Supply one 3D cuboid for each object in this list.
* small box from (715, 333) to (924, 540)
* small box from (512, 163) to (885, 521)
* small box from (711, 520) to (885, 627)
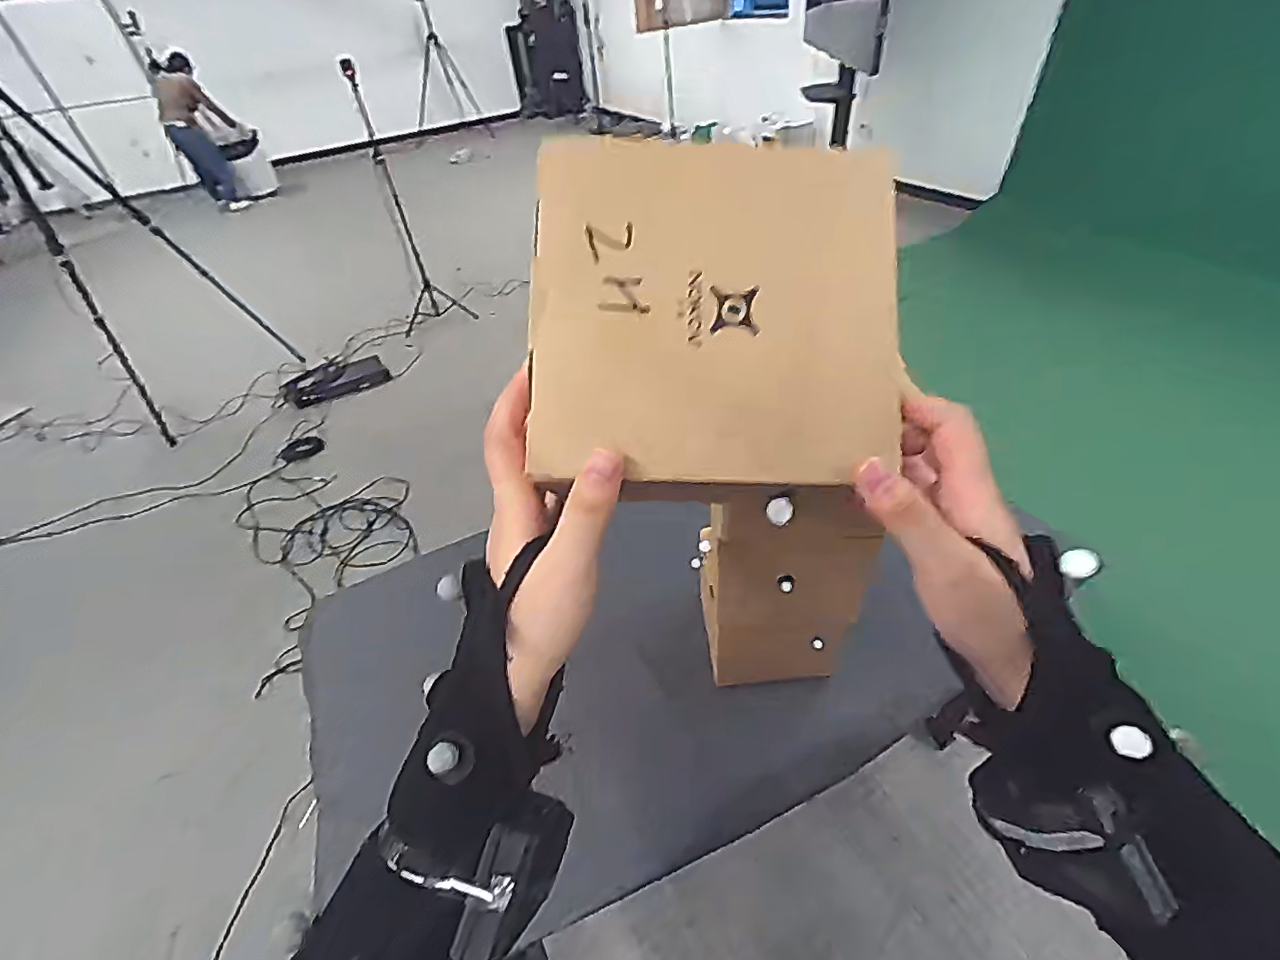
[{"bbox_3d":[0.161,-0.050,0.565,0.179,0.176,0.168,-2,42,4],"label":"small box"},{"bbox_3d":[0.027,-0.062,0.336,0.179,0.176,0.168,1,83,-2],"label":"small box"},{"bbox_3d":[0.179,0.068,0.675,0.179,0.176,0.168,-1,42,7],"label":"small box"}]
